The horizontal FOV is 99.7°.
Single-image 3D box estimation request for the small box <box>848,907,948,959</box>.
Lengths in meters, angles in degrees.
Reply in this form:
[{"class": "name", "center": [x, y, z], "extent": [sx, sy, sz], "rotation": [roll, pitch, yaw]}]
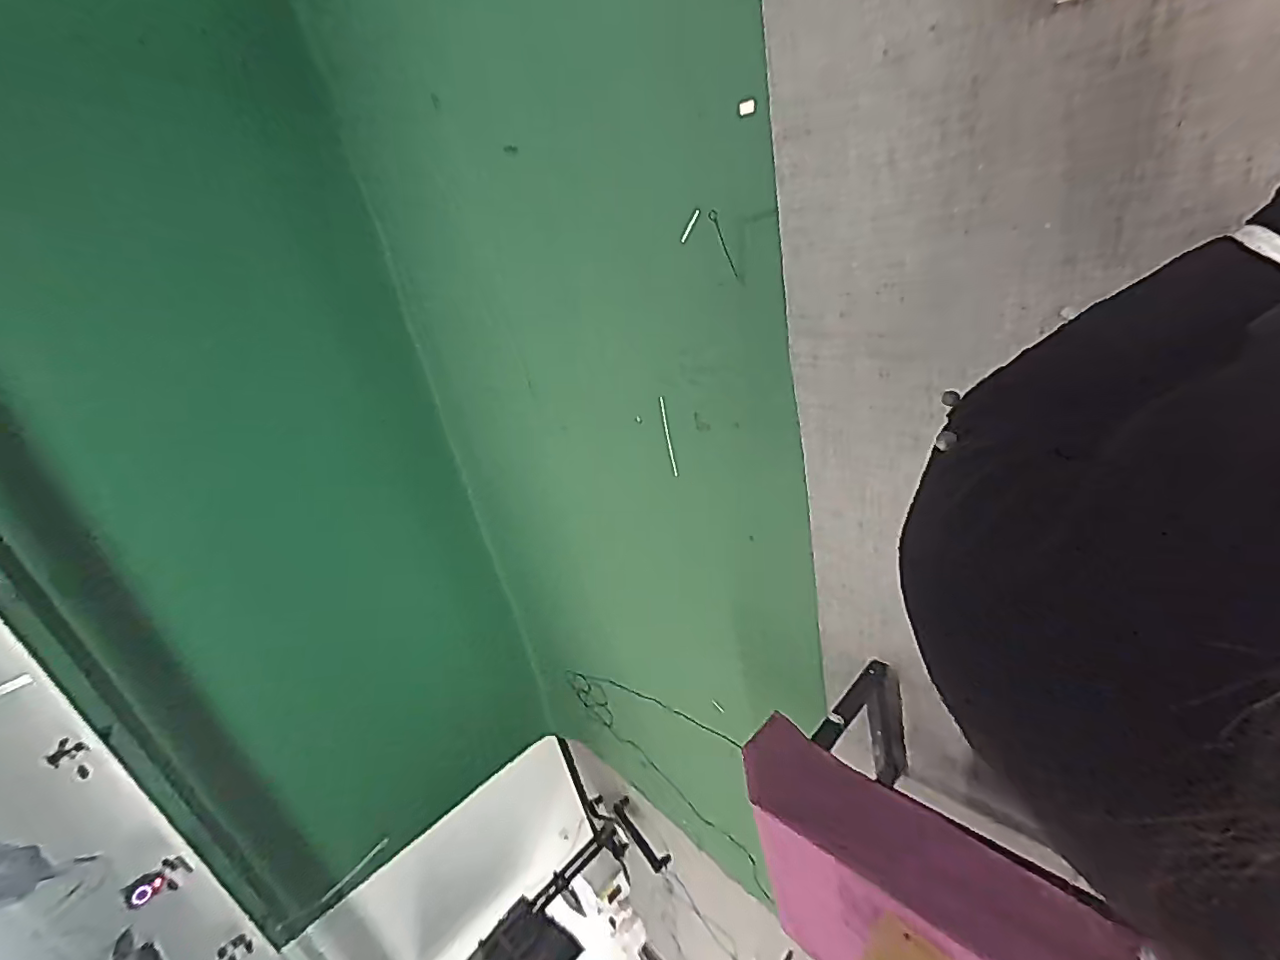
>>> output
[{"class": "small box", "center": [0.599, 1.157, 1.247], "extent": [0.168, 0.176, 0.179], "rotation": [9, 122, 47]}]
